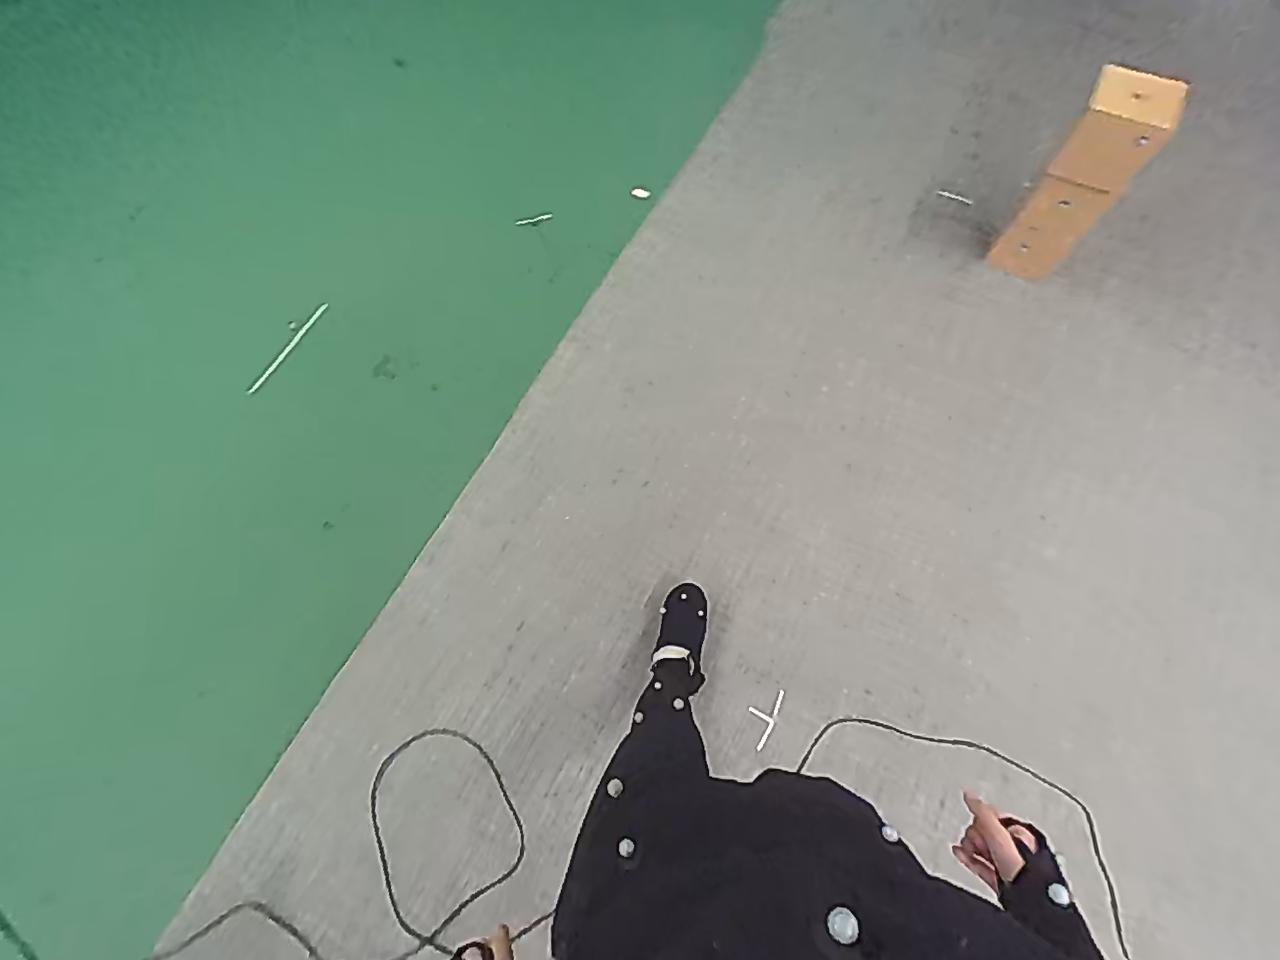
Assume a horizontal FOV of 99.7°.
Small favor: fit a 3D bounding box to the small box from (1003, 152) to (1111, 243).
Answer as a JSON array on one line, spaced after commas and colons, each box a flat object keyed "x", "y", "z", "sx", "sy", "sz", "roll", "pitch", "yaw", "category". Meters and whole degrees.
[{"x": 1.147, "y": -0.786, "z": 1.485, "sx": 0.179, "sy": 0.176, "sz": 0.168, "roll": 23, "pitch": 72, "yaw": 13, "category": "small box"}]

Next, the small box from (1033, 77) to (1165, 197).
[{"x": 1.120, "y": -0.838, "z": 1.333, "sx": 0.179, "sy": 0.176, "sz": 0.168, "roll": 25, "pitch": 73, "yaw": 12, "category": "small box"}]
